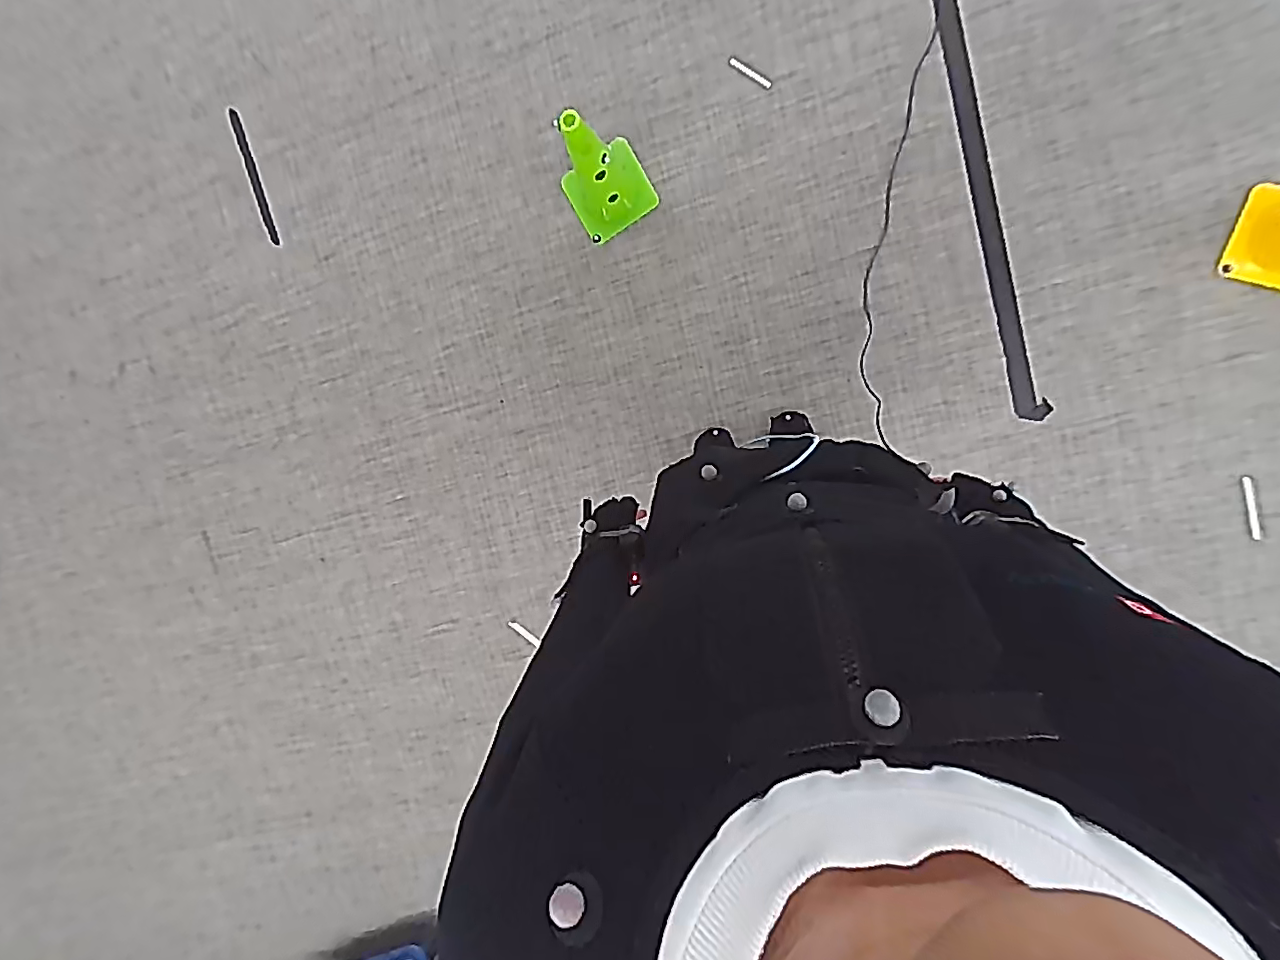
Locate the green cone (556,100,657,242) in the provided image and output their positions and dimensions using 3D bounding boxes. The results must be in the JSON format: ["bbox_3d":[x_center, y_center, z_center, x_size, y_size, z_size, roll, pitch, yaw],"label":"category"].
[{"bbox_3d":[-0.108,-0.727,1.219,0.200,0.368,0.202,-30,90,11],"label":"green cone"}]
